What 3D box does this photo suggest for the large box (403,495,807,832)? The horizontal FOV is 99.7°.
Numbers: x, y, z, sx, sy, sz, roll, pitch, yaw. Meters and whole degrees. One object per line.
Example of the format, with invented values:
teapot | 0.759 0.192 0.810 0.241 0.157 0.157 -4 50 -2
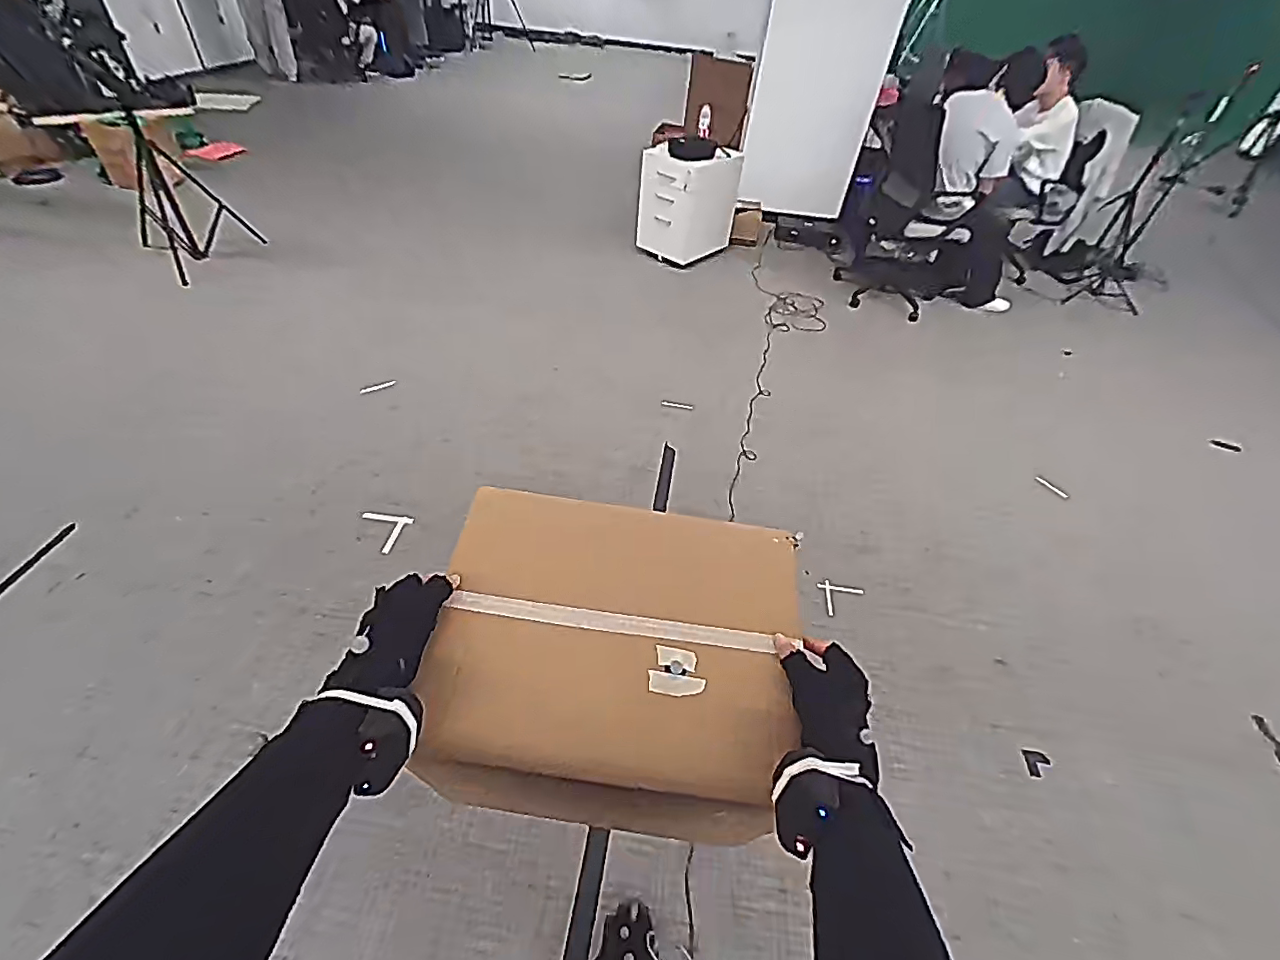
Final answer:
large box | -0.034 0.253 0.727 0.408 0.320 0.320 8 52 0
